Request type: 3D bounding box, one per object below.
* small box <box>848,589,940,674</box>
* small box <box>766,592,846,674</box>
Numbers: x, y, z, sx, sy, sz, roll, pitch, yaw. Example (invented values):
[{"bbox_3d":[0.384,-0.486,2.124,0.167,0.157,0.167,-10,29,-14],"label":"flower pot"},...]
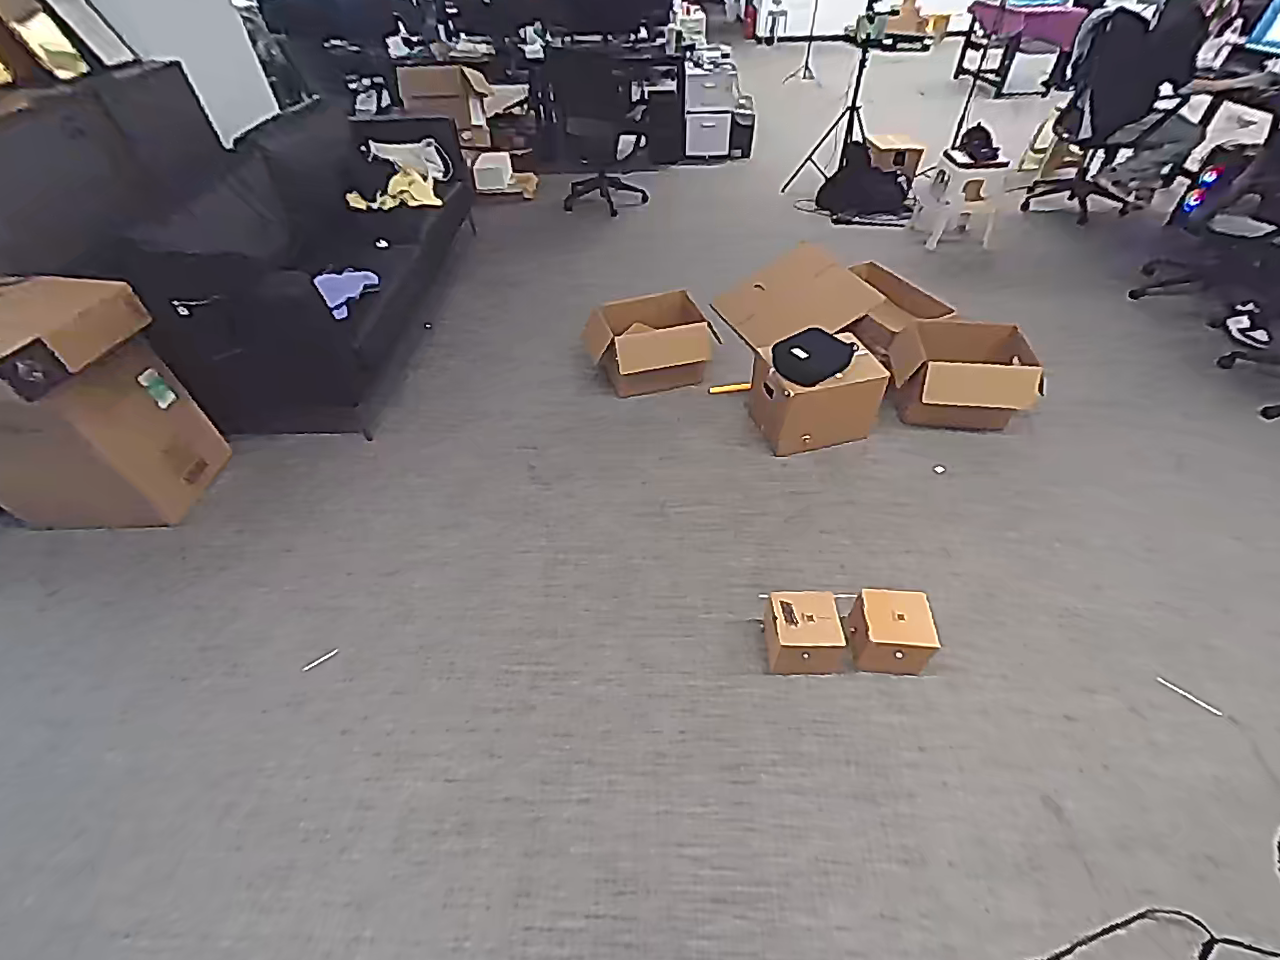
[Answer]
[{"bbox_3d":[0.697,0.424,1.504,0.179,0.176,0.168,2,46,7],"label":"small box"},{"bbox_3d":[0.452,0.429,1.511,0.179,0.176,0.168,0,46,2],"label":"small box"}]
